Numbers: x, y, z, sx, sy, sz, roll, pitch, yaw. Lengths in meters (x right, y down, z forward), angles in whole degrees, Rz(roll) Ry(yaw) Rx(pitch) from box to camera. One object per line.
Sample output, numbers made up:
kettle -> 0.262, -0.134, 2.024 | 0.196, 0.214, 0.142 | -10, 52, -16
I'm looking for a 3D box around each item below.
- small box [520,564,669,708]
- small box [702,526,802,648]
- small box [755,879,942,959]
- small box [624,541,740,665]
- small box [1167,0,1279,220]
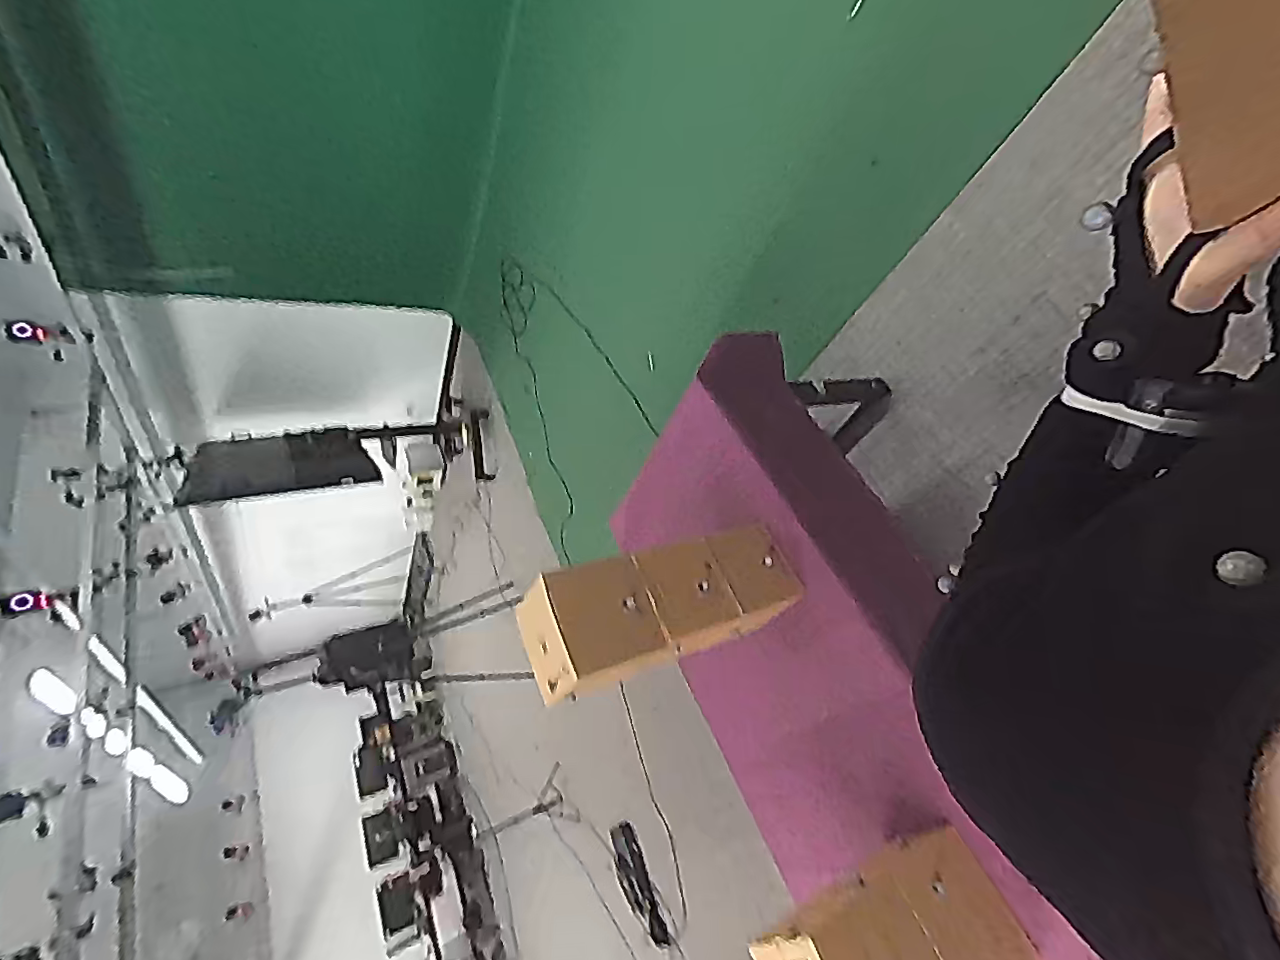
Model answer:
small box -> -0.080, 0.255, 0.914 | 0.168, 0.176, 0.179 | -54, 53, 47
small box -> 0.190, 0.214, 1.094 | 0.168, 0.176, 0.179 | 62, 142, 25
small box -> 0.299, 0.682, 0.739 | 0.179, 0.176, 0.168 | 60, 141, 29
small box -> 0.054, 0.233, 1.006 | 0.168, 0.176, 0.179 | 63, 142, 26
small box -> 0.289, -0.231, 0.172 | 0.168, 0.179, 0.176 | 0, 71, 49
